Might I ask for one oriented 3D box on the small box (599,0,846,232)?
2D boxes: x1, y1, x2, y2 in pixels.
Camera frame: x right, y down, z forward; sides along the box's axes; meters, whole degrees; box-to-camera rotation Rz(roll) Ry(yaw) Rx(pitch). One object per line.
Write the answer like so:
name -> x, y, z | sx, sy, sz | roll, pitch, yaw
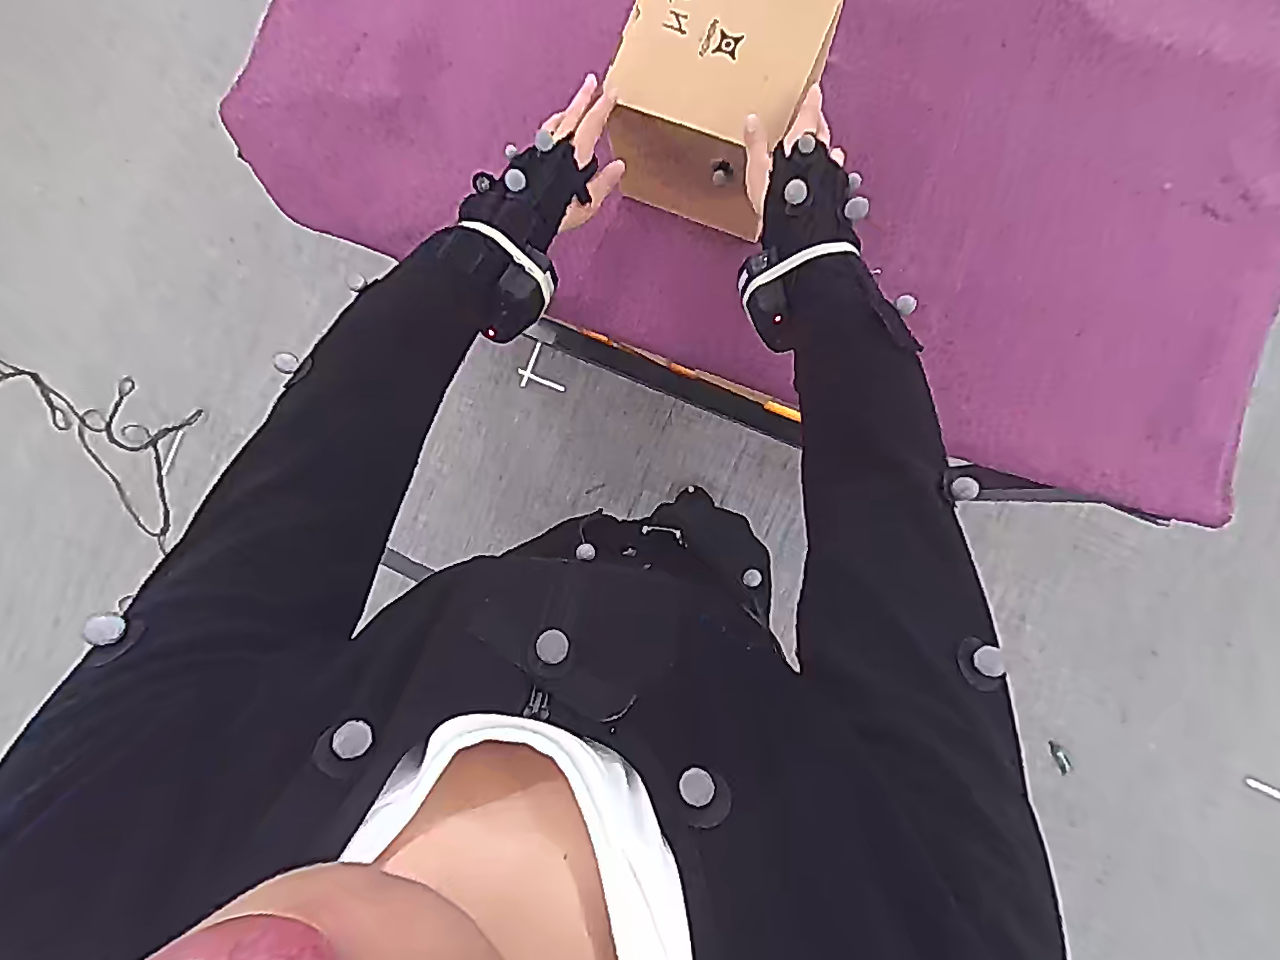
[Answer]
small box -> 0.080, -0.389, 0.560 | 0.179, 0.176, 0.168 | 23, 90, 6
